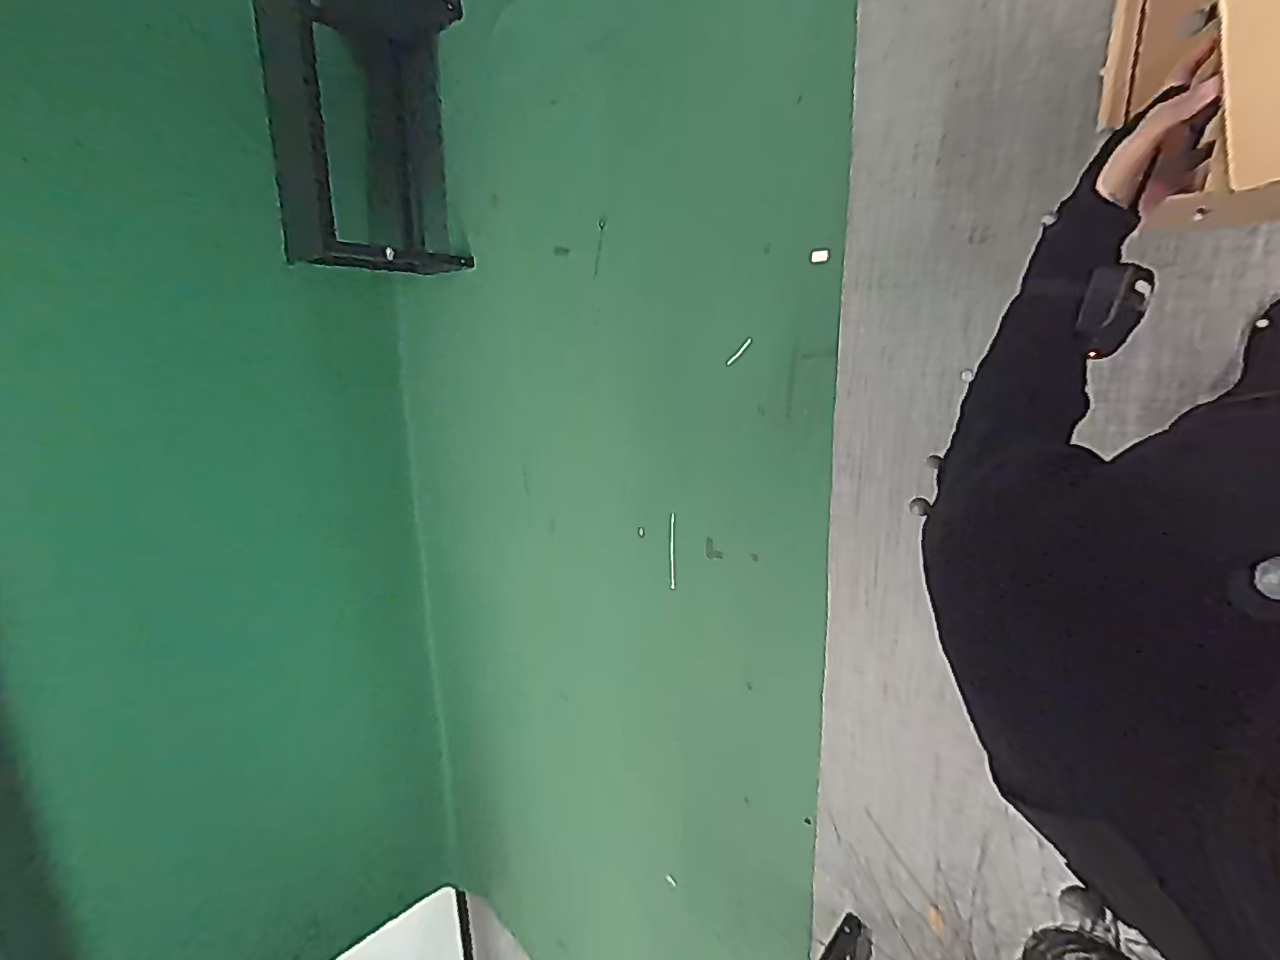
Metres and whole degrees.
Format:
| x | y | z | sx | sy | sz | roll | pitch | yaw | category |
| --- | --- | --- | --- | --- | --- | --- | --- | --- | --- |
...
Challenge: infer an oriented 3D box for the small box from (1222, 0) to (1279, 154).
| x | y | z | sx | sy | sz | roll | pitch | yaw | category |
| --- | --- | --- | --- | --- | --- | --- | --- | --- | --- |
| 0.402 | -0.283 | 0.260 | 0.168 | 0.176 | 0.179 | -2 | 109 | 49 | small box |
